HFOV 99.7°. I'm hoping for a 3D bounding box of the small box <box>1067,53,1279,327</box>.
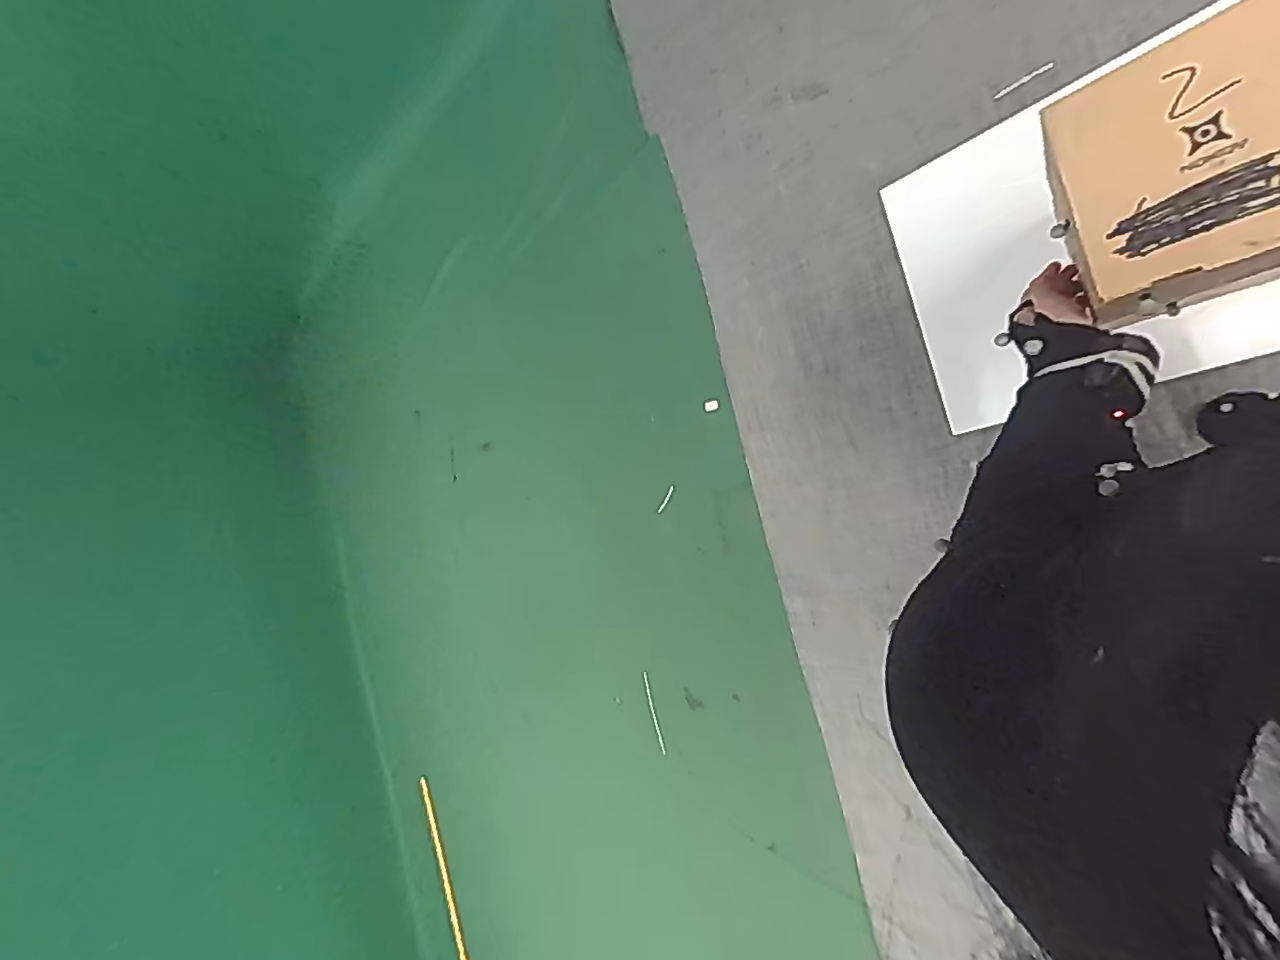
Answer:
[{"bbox_3d":[0.582,-0.284,0.578,0.168,0.176,0.179,-18,84,40],"label":"small box"}]
